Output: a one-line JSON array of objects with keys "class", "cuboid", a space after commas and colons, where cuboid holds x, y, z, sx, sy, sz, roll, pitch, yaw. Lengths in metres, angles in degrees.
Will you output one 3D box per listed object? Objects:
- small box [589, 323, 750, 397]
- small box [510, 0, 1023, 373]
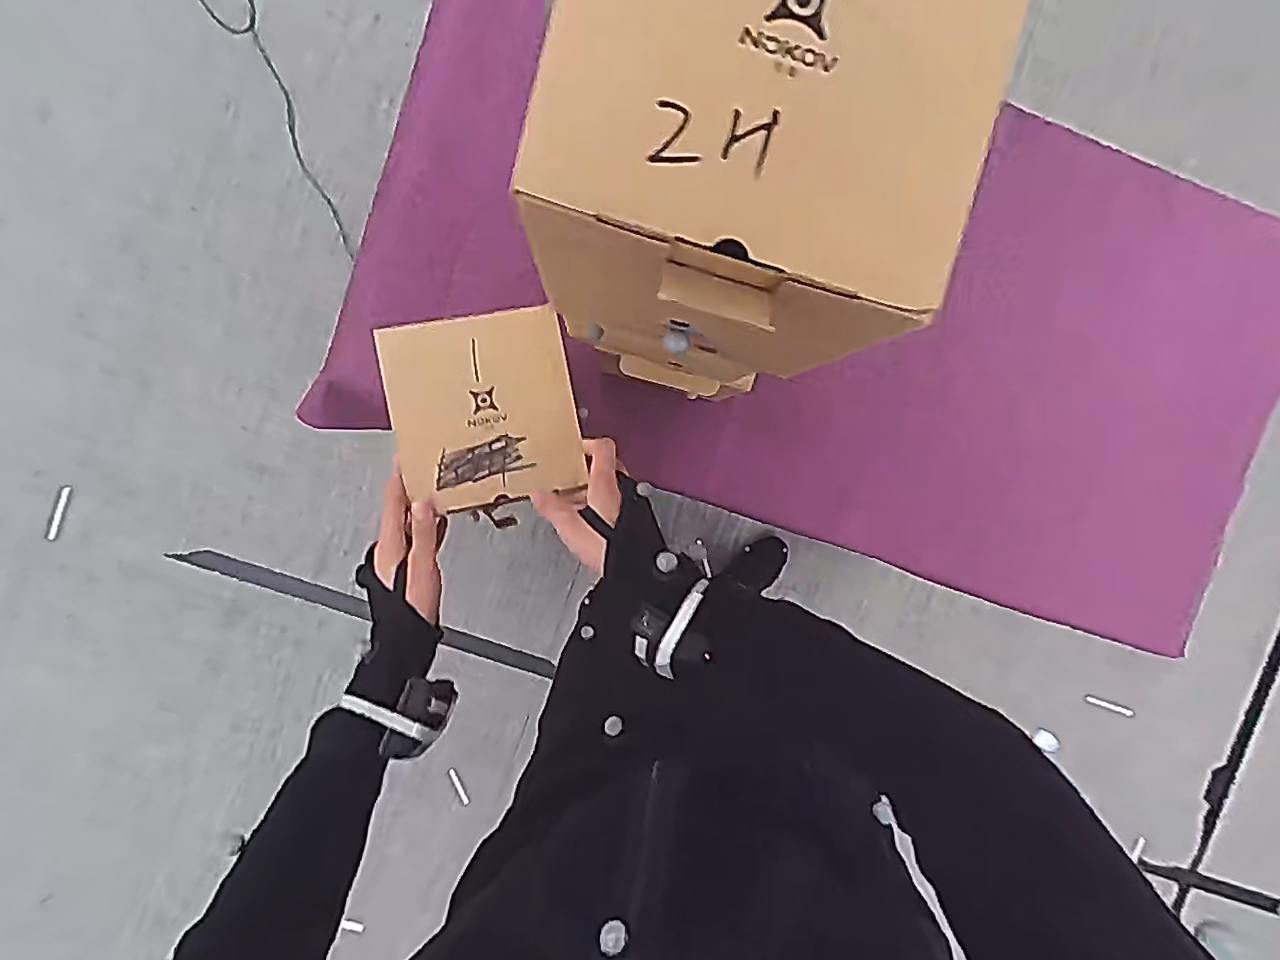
[{"class": "small box", "cuboid": [0.046, -0.198, 0.606, 0.168, 0.176, 0.179, 15, 93, -5]}, {"class": "small box", "cuboid": [0.047, -0.168, 0.276, 0.168, 0.176, 0.179, 16, 93, -5]}]
